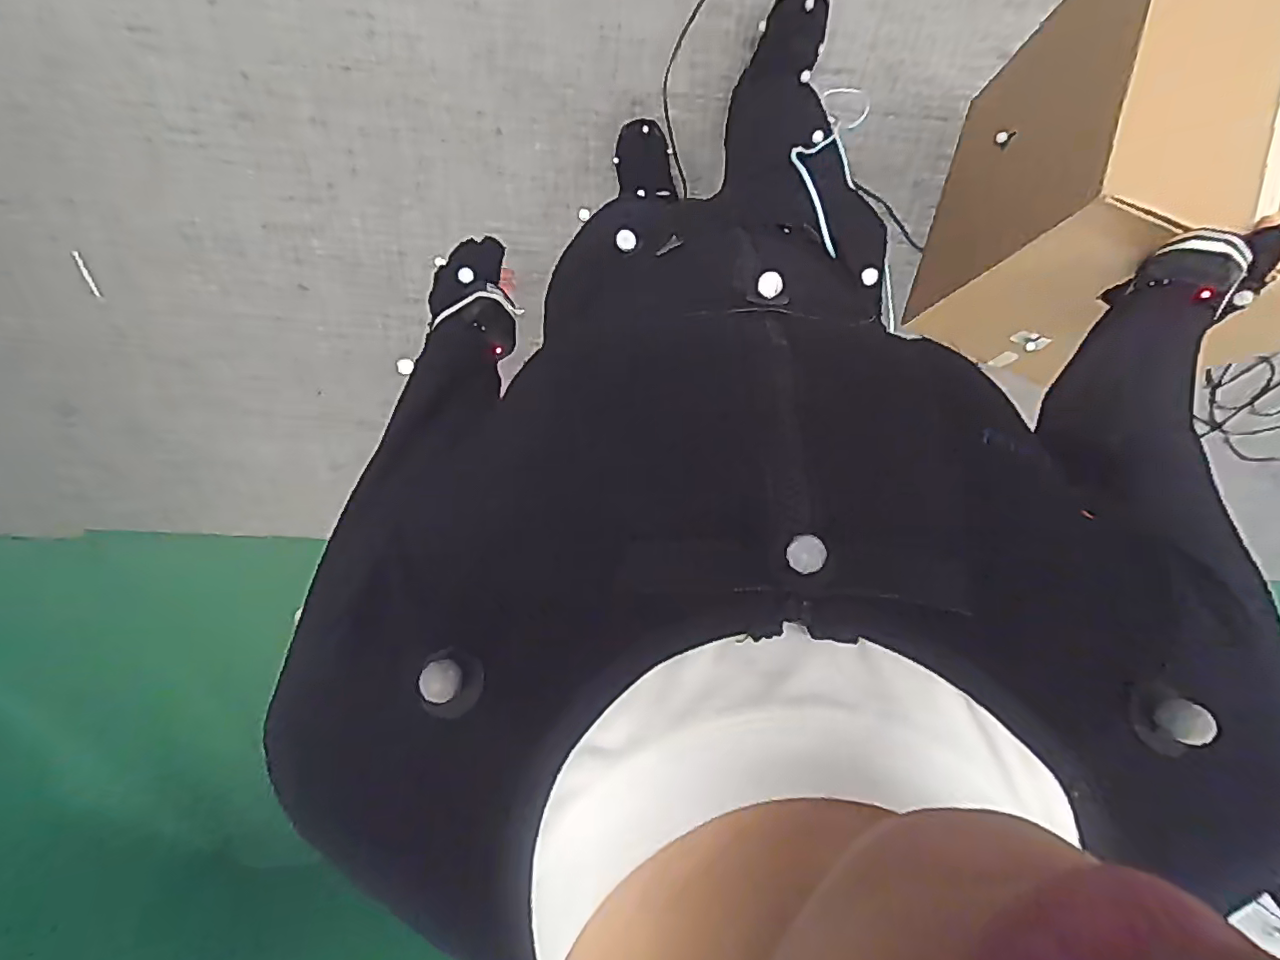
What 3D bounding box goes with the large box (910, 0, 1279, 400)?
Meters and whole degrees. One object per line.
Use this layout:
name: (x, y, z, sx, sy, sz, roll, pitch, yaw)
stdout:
large box: (0.610, -0.366, 0.685, 0.320, 0.320, 0.408, 21, 81, -4)
